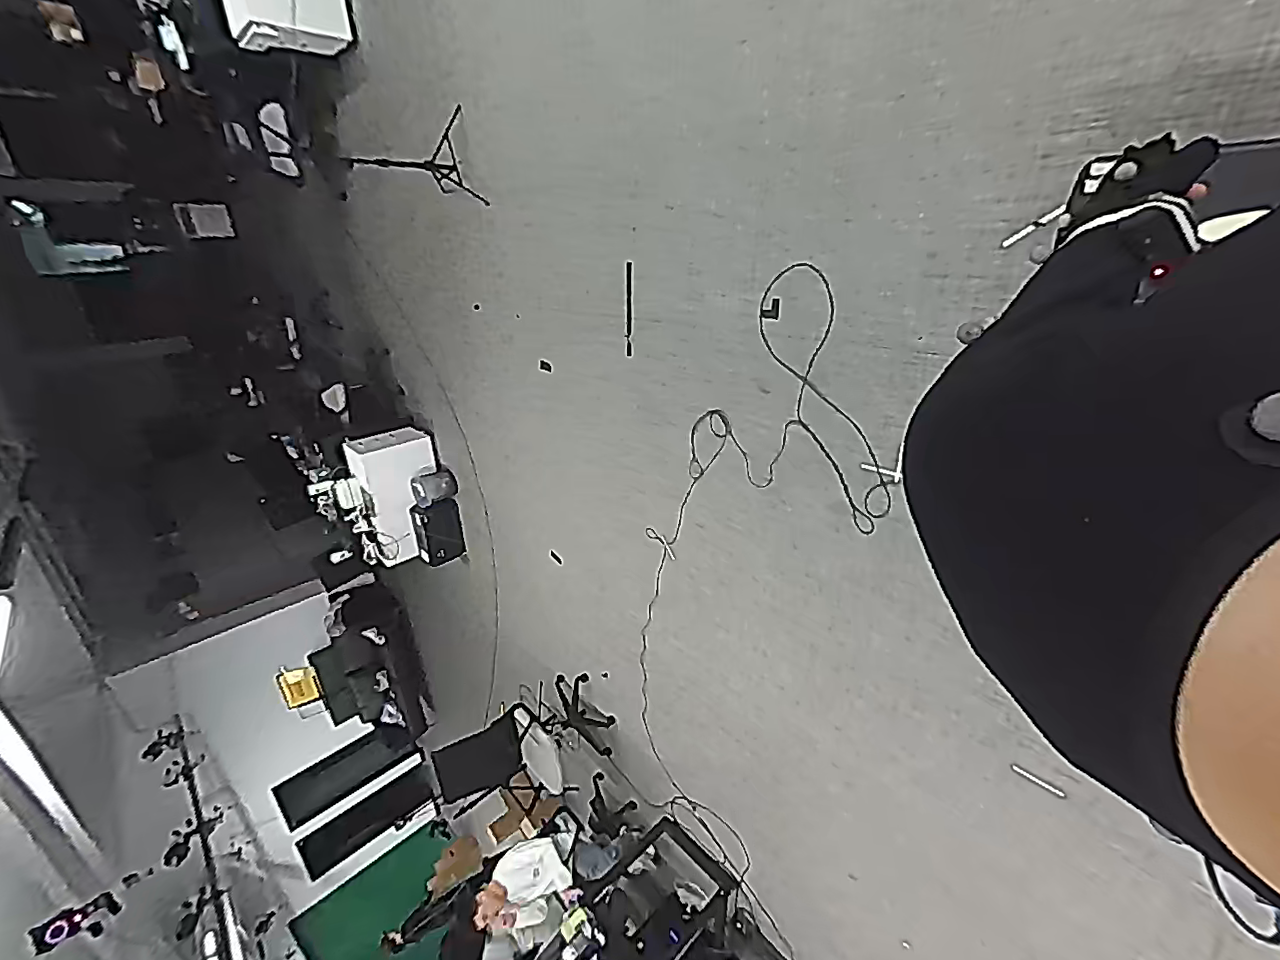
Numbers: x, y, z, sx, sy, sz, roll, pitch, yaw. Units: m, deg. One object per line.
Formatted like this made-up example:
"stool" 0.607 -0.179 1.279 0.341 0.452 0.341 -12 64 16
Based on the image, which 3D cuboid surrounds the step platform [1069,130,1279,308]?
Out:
"step platform" 1.183 -0.453 0.936 0.684 0.204 0.286 20 123 41
